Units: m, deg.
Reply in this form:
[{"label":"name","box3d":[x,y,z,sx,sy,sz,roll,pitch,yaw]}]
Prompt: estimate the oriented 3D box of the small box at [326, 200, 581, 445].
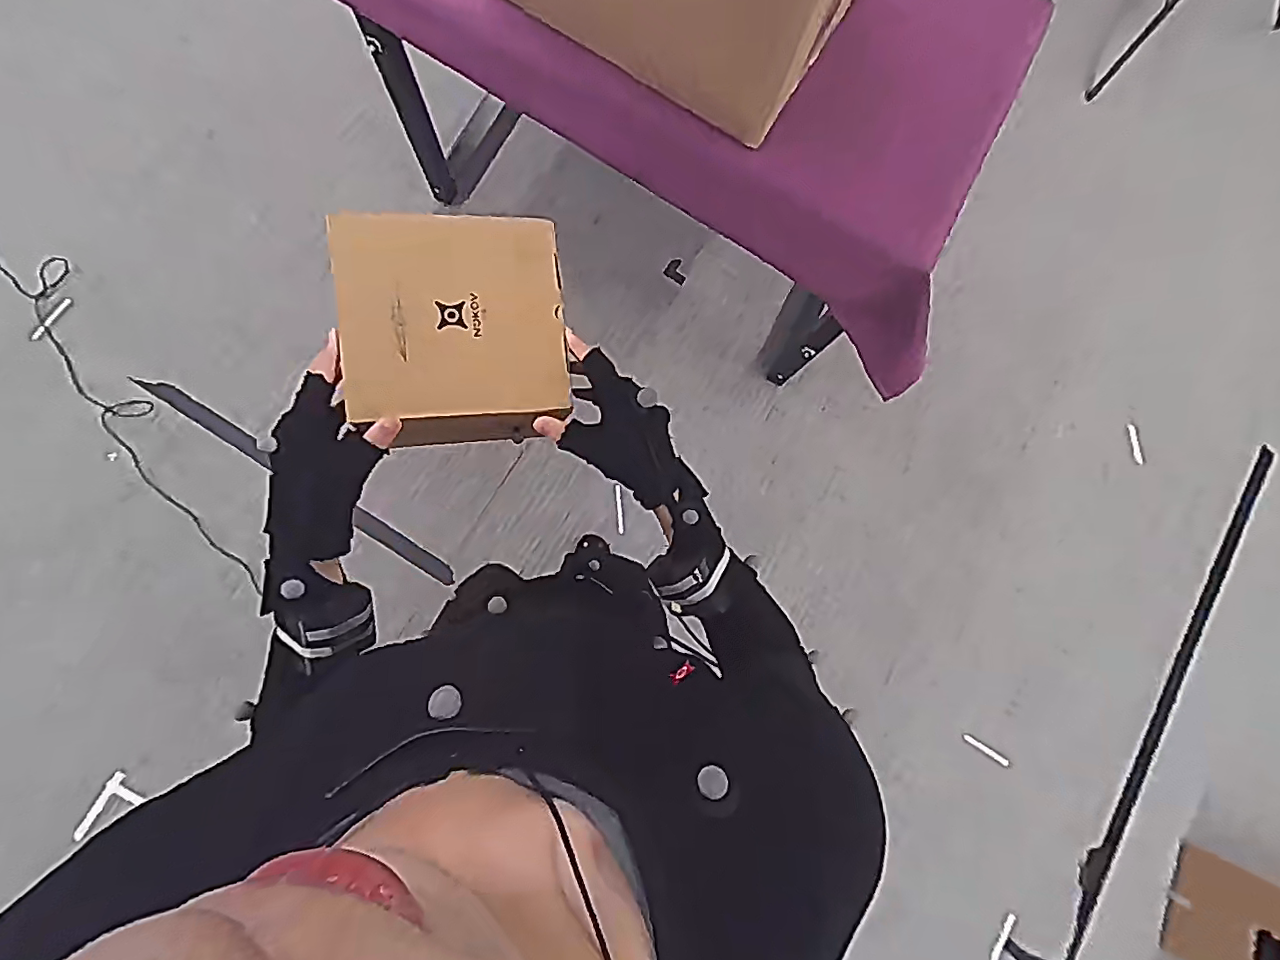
[{"label":"small box","box3d":[-0.162,-0.130,0.498,0.179,0.176,0.168,-7,87,-15]}]
